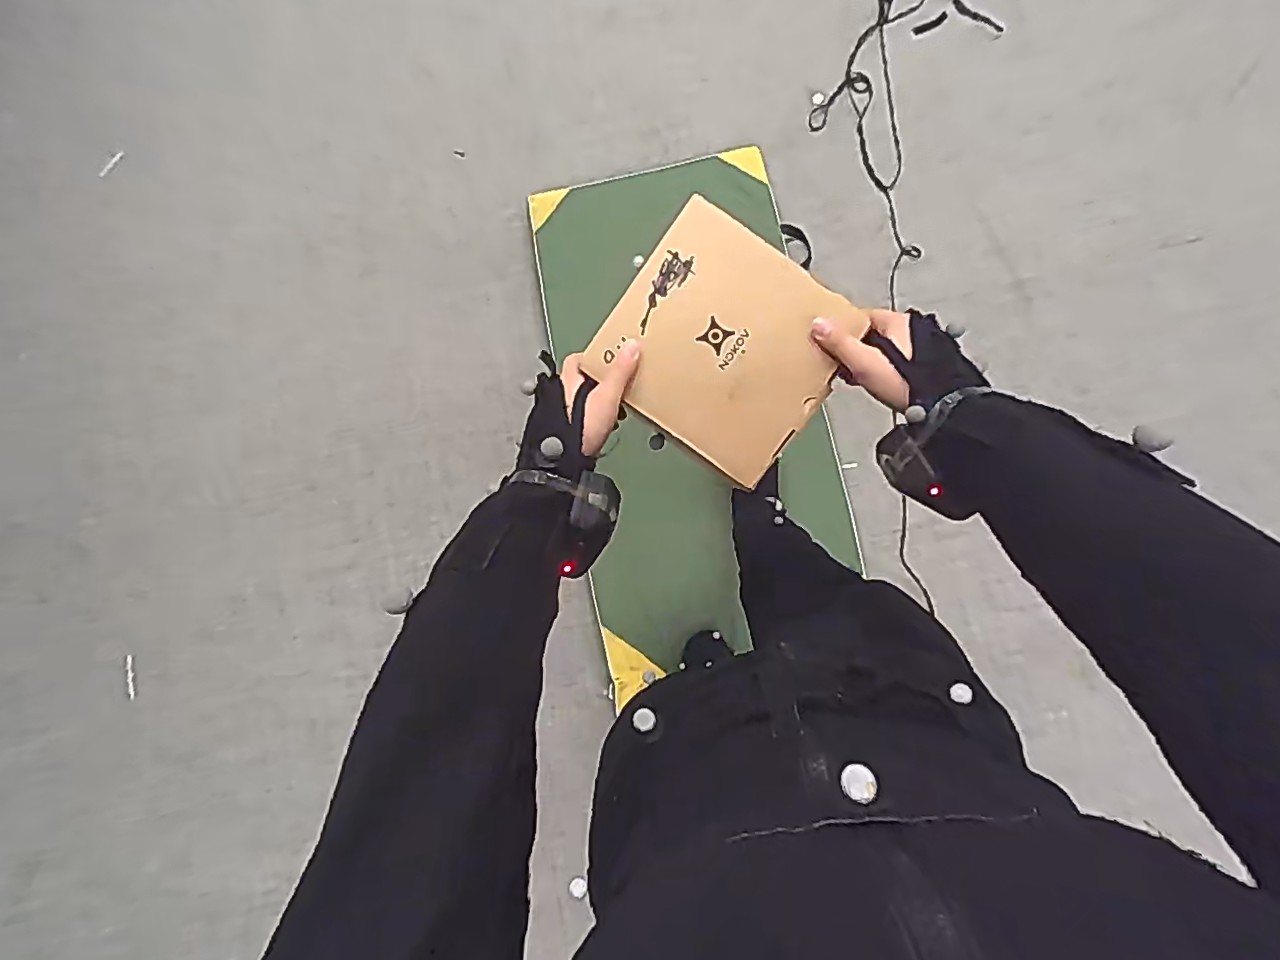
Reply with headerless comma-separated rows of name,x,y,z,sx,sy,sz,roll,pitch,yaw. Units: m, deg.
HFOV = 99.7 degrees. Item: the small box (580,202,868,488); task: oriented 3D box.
small box,0.068,-0.112,0.512,0.179,0.176,0.168,36,93,0
